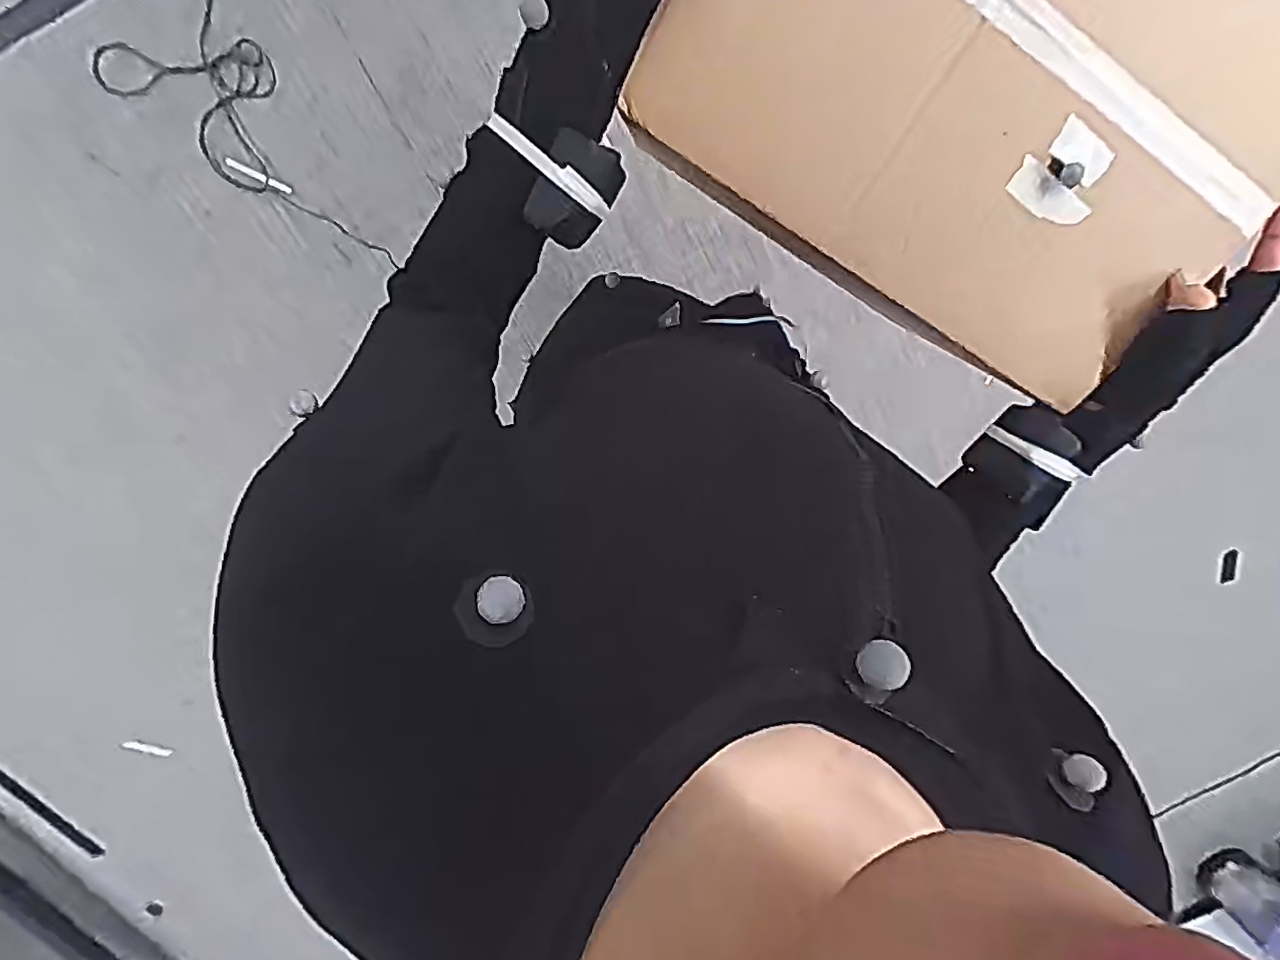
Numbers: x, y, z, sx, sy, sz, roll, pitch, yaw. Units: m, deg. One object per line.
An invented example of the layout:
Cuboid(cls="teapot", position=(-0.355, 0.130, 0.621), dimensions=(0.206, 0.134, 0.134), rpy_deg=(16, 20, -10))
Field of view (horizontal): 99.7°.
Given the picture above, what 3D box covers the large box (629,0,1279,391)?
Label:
Cuboid(cls="large box", position=(0.237, -0.342, 0.459), dimensions=(0.408, 0.320, 0.320), rpy_deg=(28, 117, -13))
